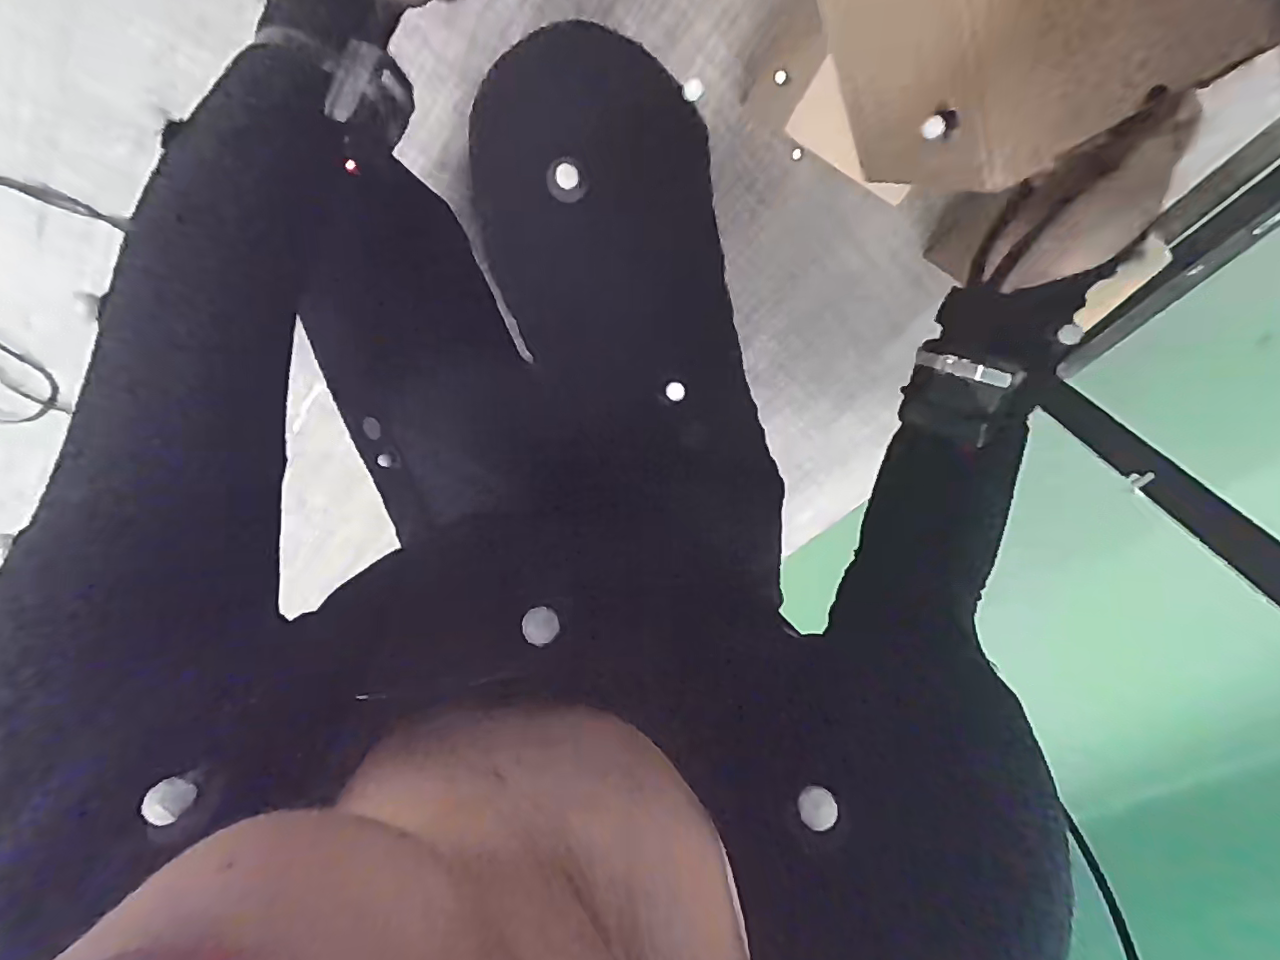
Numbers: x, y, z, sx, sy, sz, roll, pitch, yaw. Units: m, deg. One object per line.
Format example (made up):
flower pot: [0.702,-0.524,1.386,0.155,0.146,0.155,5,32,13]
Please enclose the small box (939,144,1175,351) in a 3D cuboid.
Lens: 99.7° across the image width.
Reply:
small box: [0.552,-0.320,0.747,0.168,0.176,0.179,23,125,-27]
